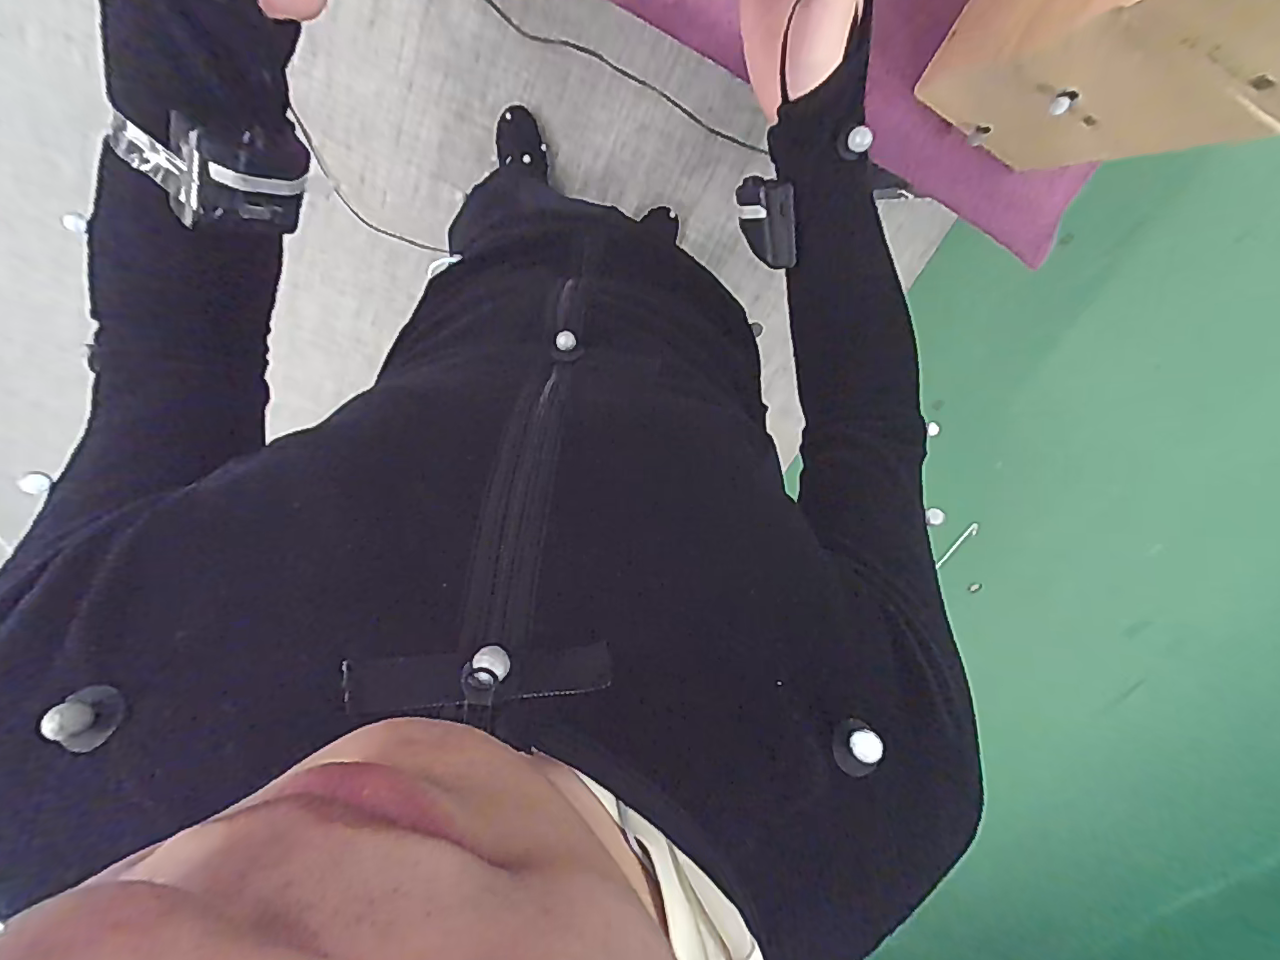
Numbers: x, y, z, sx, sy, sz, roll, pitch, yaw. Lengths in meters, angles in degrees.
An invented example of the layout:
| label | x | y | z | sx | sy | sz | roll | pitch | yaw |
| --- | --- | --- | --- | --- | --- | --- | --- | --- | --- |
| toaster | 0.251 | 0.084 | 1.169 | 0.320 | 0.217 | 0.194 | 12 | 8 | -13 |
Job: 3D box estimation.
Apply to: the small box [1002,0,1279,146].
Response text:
| label | x | y | z | sx | sy | sz | roll | pitch | yaw |
| --- | --- | --- | --- | --- | --- | --- | --- | --- | --- |
| small box | 0.440 | -0.397 | 0.420 | 0.168 | 0.176 | 0.179 | 27 | 114 | -10 |

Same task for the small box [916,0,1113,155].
| label | x | y | z | sx | sy | sz | roll | pitch | yaw |
| --- | --- | --- | --- | --- | --- | --- | --- | --- | --- |
| small box | 0.440 | -0.469 | 0.567 | 0.179 | 0.176 | 0.168 | 27 | 114 | -12 |
